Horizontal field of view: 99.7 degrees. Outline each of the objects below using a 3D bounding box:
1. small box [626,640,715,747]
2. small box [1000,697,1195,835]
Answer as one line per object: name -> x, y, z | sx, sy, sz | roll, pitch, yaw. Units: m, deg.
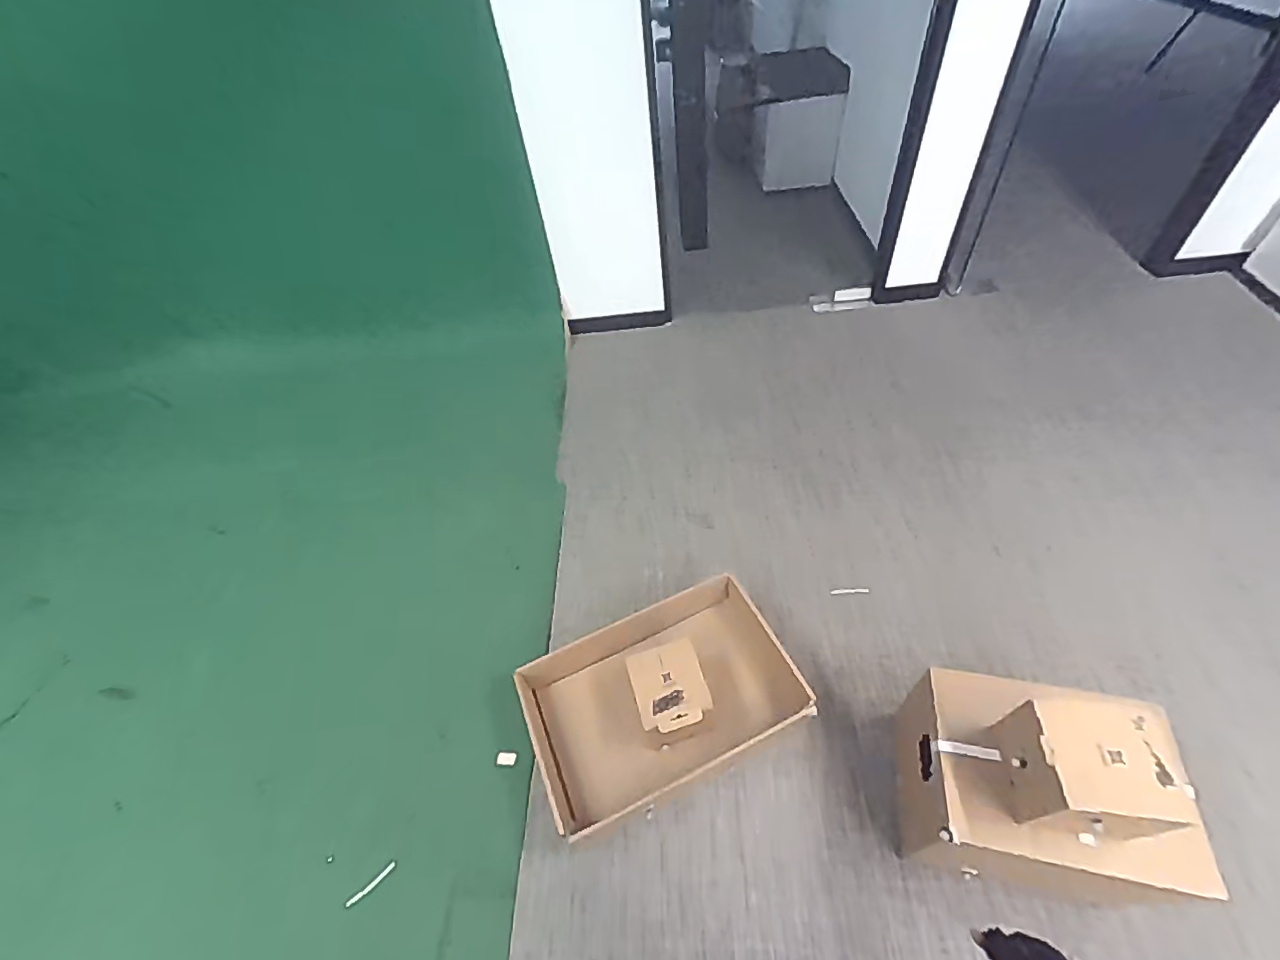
small box -> 0.077, 0.522, 1.306 | 0.168, 0.176, 0.179 | -17, 48, -5
small box -> 0.733, 0.478, 0.900 | 0.179, 0.176, 0.168 | 1, 51, 10
